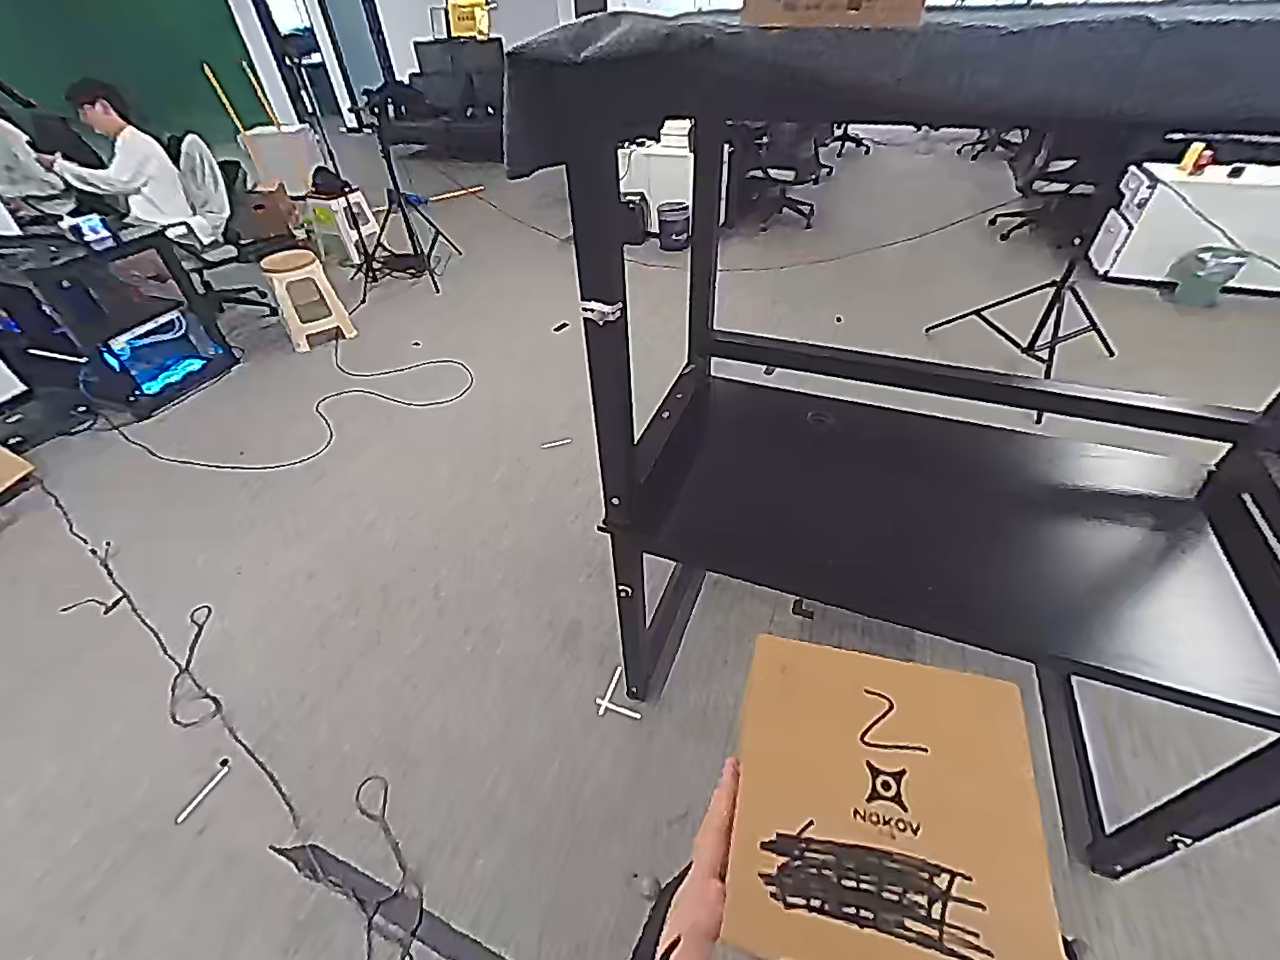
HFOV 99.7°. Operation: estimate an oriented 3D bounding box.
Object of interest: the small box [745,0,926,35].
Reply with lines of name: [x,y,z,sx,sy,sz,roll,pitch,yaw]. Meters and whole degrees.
small box: [0.201,-0.534,0.513,0.168,0.176,0.179,13,42,14]
